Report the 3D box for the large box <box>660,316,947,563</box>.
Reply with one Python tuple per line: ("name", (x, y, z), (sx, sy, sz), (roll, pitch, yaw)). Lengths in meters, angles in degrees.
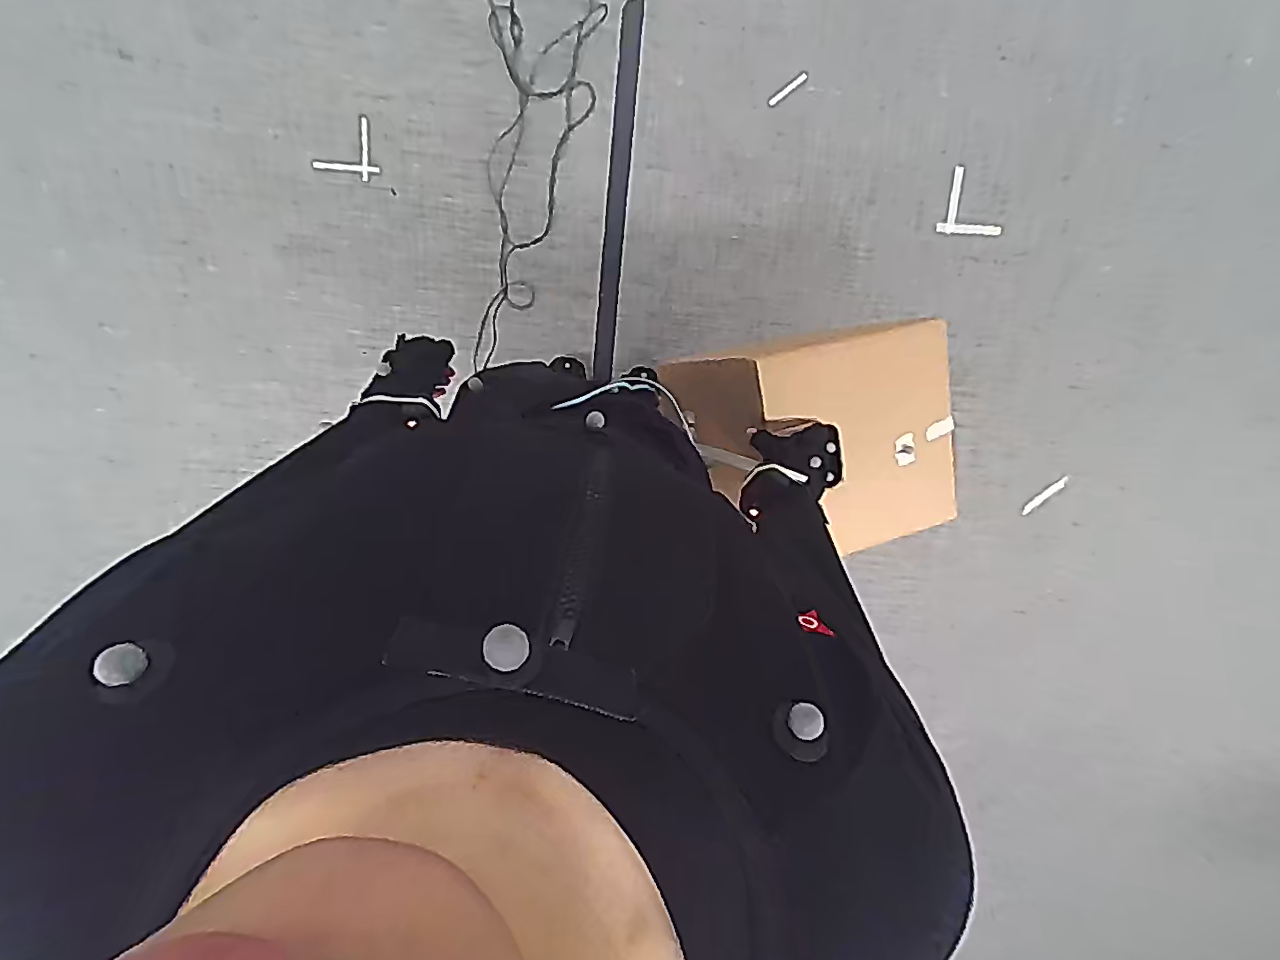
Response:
("large box", (0.266, -0.092, 0.977), (0.320, 0.408, 0.320), (-15, 104, -13))
